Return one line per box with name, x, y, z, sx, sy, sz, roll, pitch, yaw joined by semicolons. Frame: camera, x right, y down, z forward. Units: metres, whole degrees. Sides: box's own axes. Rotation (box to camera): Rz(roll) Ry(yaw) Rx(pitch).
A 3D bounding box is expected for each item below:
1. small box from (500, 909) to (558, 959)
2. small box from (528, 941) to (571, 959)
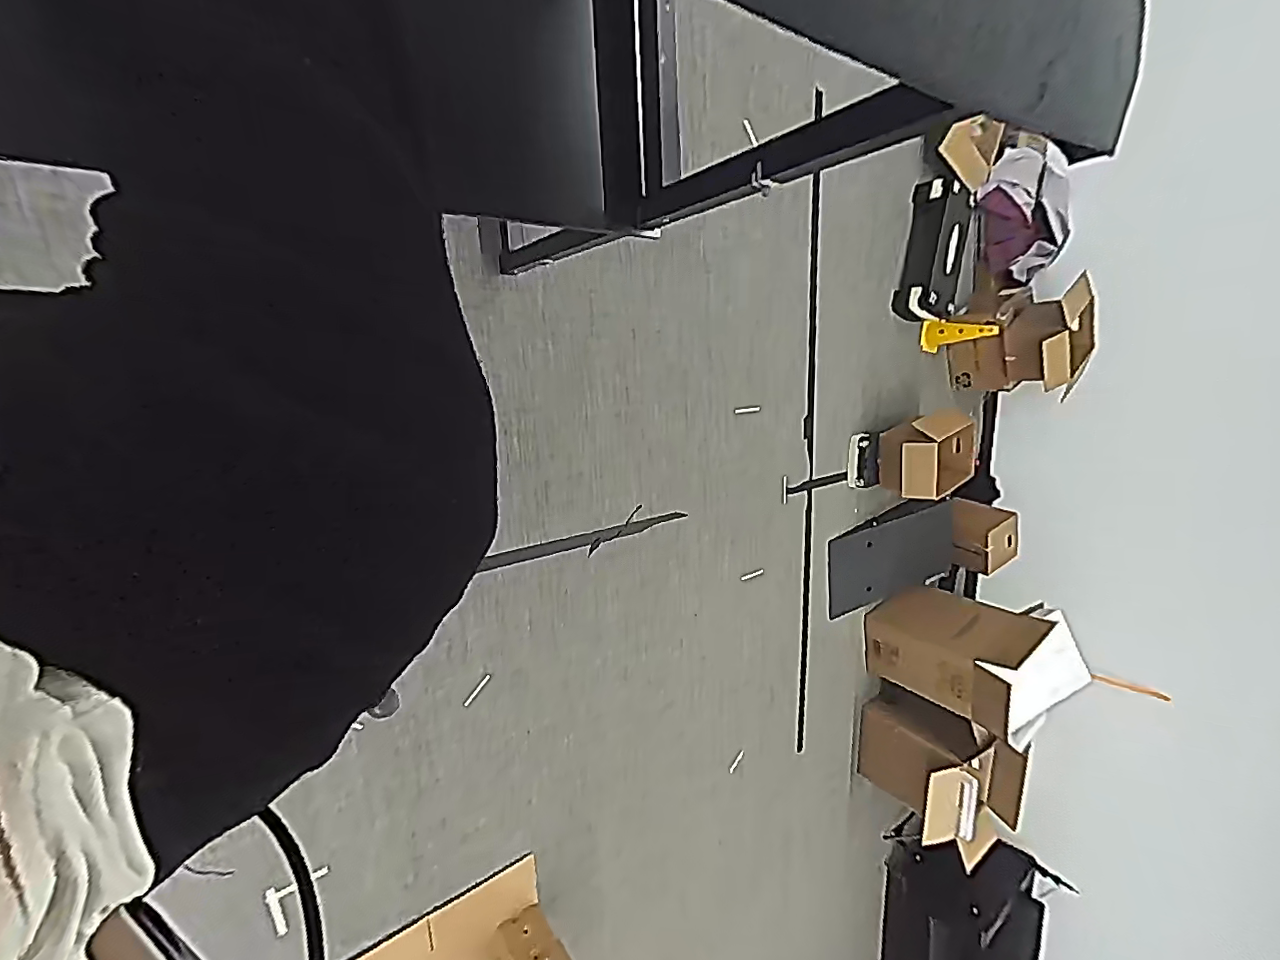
small box;-0.419;1.783;2.045;0.168;0.176;0.179;-9;104;-35
small box;-0.313;1.815;1.922;0.168;0.176;0.179;-8;104;-37
